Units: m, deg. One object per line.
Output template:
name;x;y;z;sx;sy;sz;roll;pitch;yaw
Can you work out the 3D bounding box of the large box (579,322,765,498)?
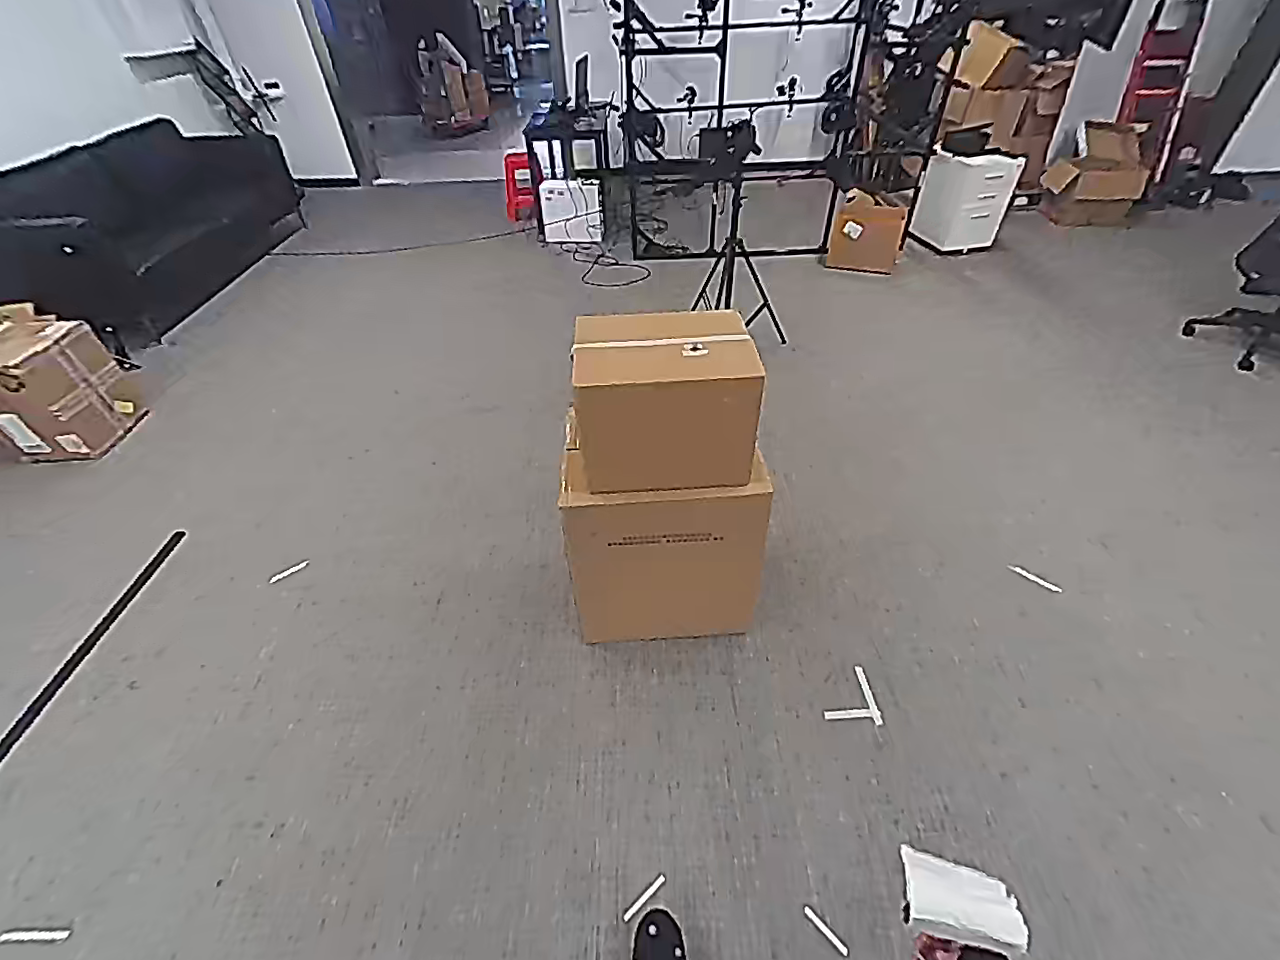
large box;0.060;-0.176;1.343;0.408;0.320;0.320;-3;43;-2
